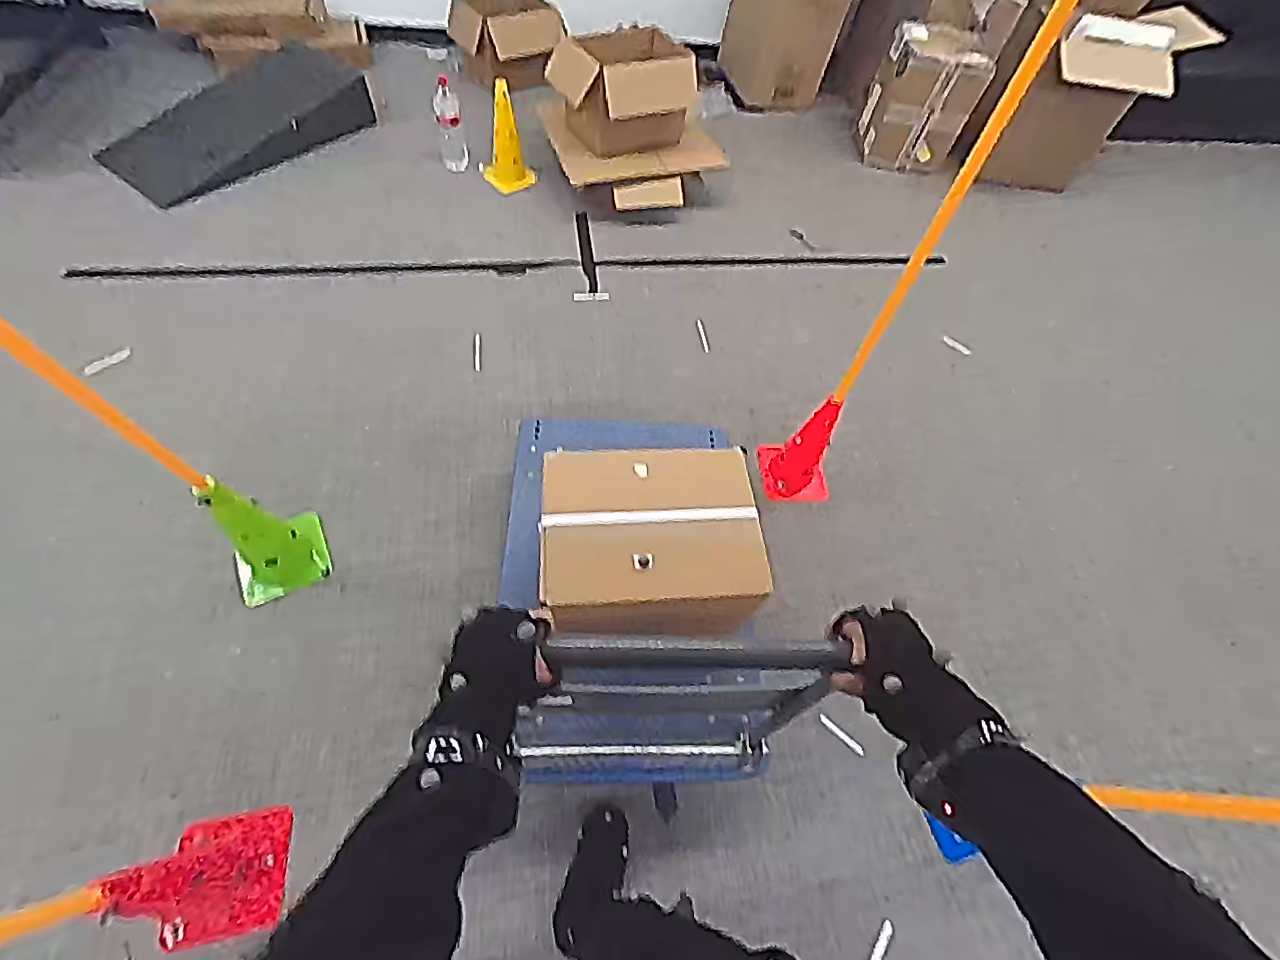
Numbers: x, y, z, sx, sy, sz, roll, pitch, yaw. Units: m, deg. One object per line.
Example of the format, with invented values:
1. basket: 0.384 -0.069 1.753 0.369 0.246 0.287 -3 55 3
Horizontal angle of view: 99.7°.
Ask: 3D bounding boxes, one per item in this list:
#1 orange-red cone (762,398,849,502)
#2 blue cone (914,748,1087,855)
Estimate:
1. orange-red cone: 0.505 -0.108 1.545 0.199 0.360 0.198 2 58 -7
2. blue cone: 0.767 0.652 1.115 0.193 0.380 0.192 -8 58 -12
